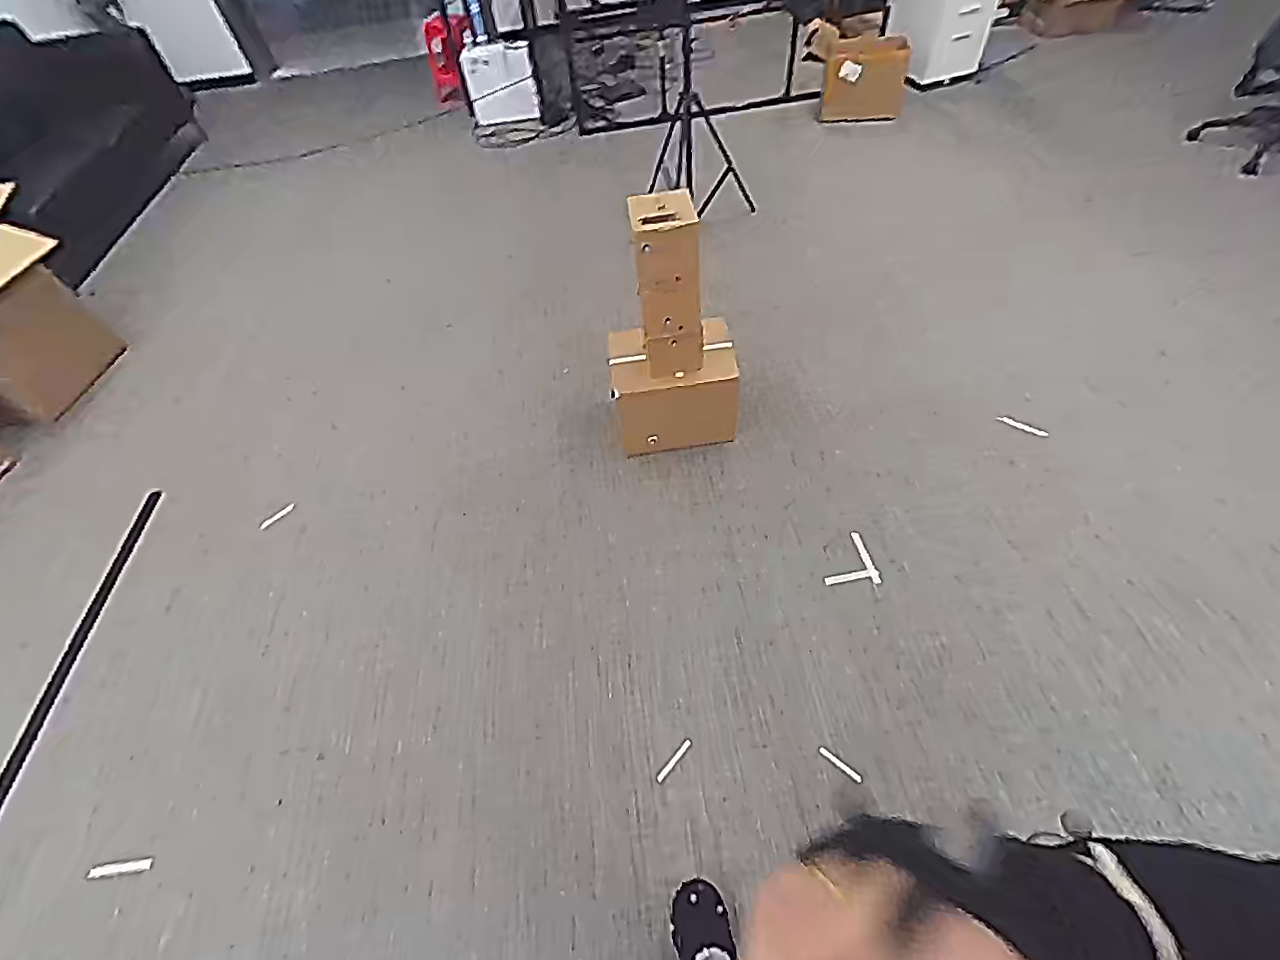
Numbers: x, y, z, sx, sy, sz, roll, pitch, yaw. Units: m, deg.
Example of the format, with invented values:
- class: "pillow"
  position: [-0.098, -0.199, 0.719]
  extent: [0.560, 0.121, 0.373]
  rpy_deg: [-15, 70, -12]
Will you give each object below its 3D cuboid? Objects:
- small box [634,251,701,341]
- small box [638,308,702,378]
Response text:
- class: "small box"
  position: [0.079, -0.531, 1.569]
  extent: [0.168, 0.176, 0.179]
  rpy_deg: [-10, 54, 0]
- class: "small box"
  position: [0.097, -0.442, 1.703]
  extent: [0.179, 0.176, 0.168]
  rpy_deg: [-10, 54, -1]
